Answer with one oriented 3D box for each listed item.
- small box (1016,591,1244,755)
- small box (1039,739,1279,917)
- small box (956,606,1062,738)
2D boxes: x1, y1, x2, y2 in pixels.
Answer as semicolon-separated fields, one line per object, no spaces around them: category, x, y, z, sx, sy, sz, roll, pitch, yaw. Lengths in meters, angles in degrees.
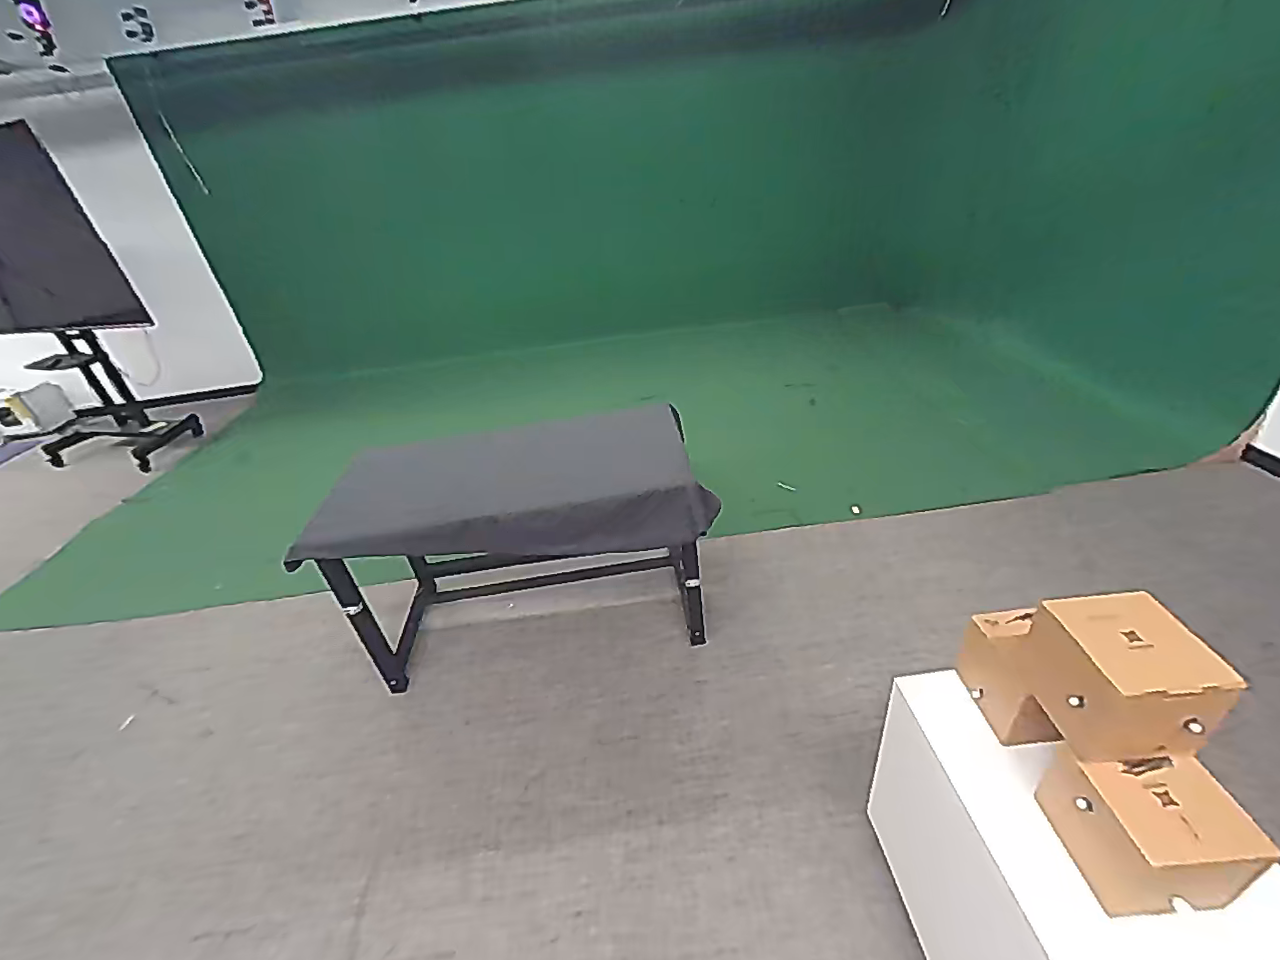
small box;0.723;0.297;0.825;0.168;0.176;0.179;-6;32;2
small box;0.741;0.504;0.800;0.168;0.176;0.179;-7;33;3
small box;0.735;0.365;1.019;0.168;0.176;0.179;-7;35;1
